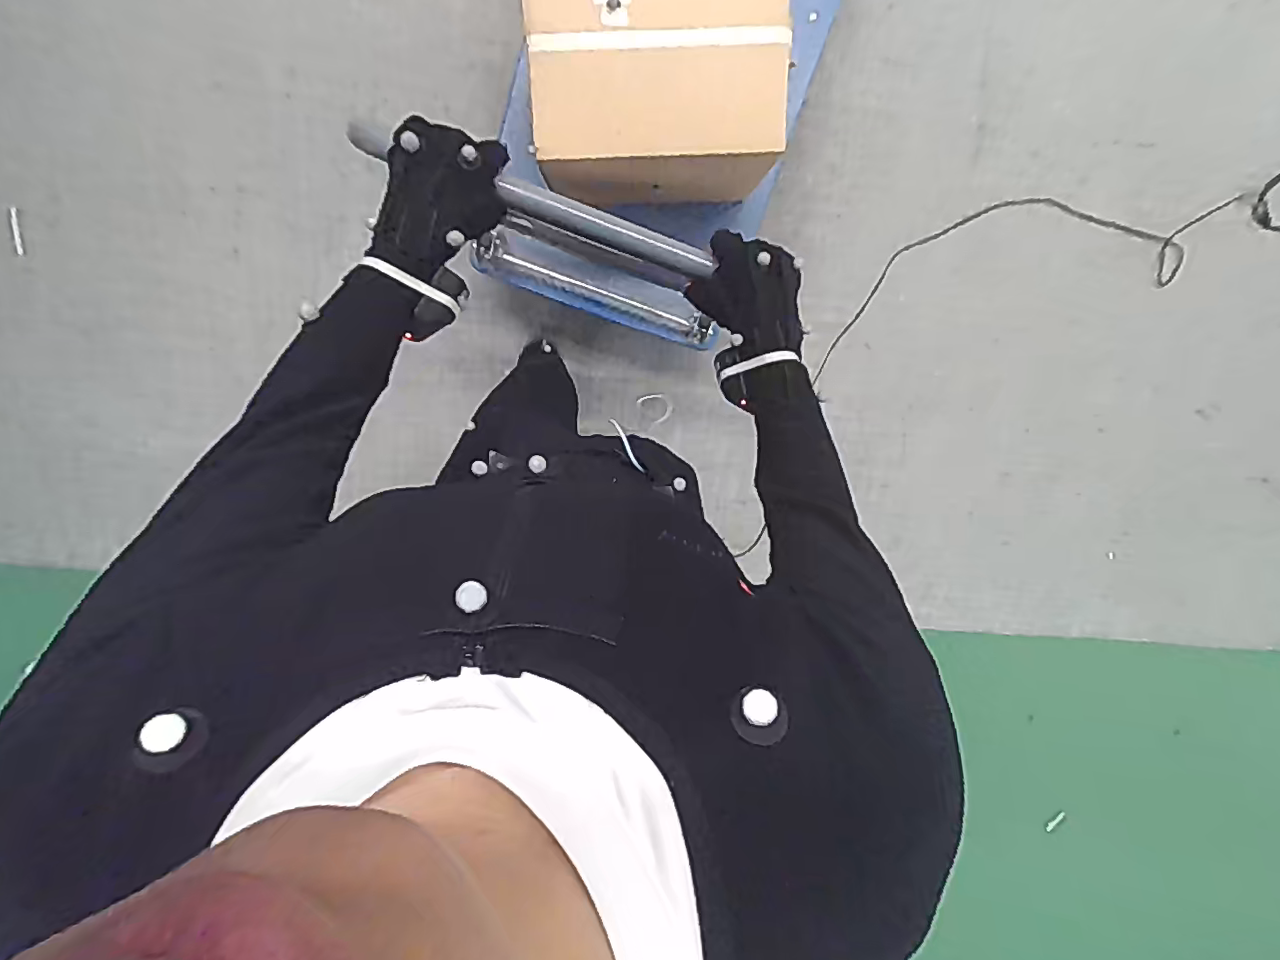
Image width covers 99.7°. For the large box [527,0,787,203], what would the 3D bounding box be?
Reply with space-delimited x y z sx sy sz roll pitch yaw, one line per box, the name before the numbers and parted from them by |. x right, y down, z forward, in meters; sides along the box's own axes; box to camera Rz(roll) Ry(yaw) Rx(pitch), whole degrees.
large box | 0.029 -0.708 0.976 0.408 0.320 0.320 -2 104 0
